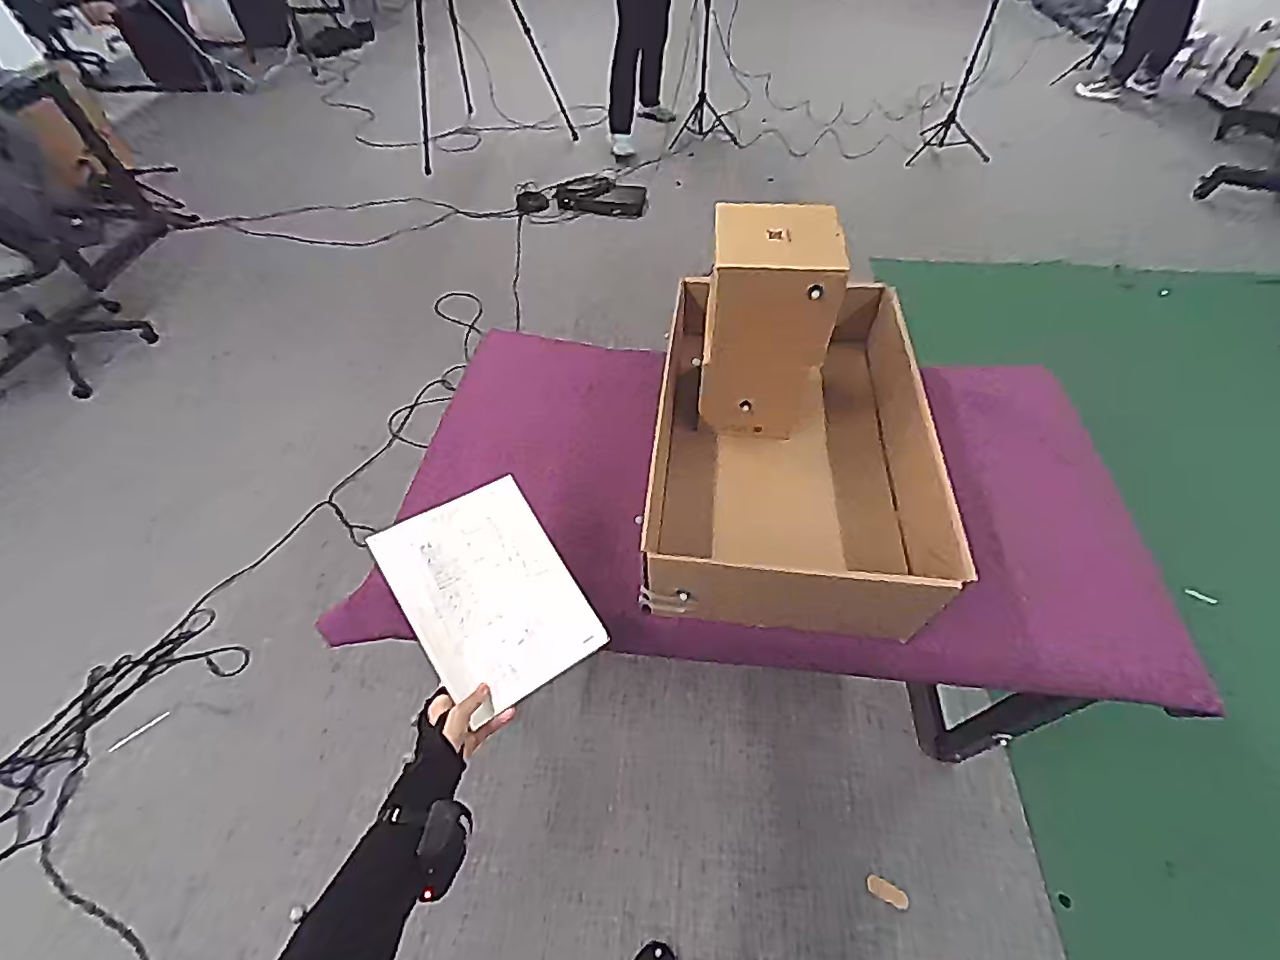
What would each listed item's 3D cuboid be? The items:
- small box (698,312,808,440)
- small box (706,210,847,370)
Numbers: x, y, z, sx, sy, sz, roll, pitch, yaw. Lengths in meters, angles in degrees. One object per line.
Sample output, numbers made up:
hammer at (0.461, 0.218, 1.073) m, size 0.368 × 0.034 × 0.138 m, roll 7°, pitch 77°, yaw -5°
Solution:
small box at (0.190, -0.188, 0.943) m, size 0.168 × 0.176 × 0.179 m, roll 5°, pitch 54°, yaw 5°
small box at (0.191, -0.282, 0.811) m, size 0.179 × 0.176 × 0.168 m, roll 3°, pitch 54°, yaw 4°
